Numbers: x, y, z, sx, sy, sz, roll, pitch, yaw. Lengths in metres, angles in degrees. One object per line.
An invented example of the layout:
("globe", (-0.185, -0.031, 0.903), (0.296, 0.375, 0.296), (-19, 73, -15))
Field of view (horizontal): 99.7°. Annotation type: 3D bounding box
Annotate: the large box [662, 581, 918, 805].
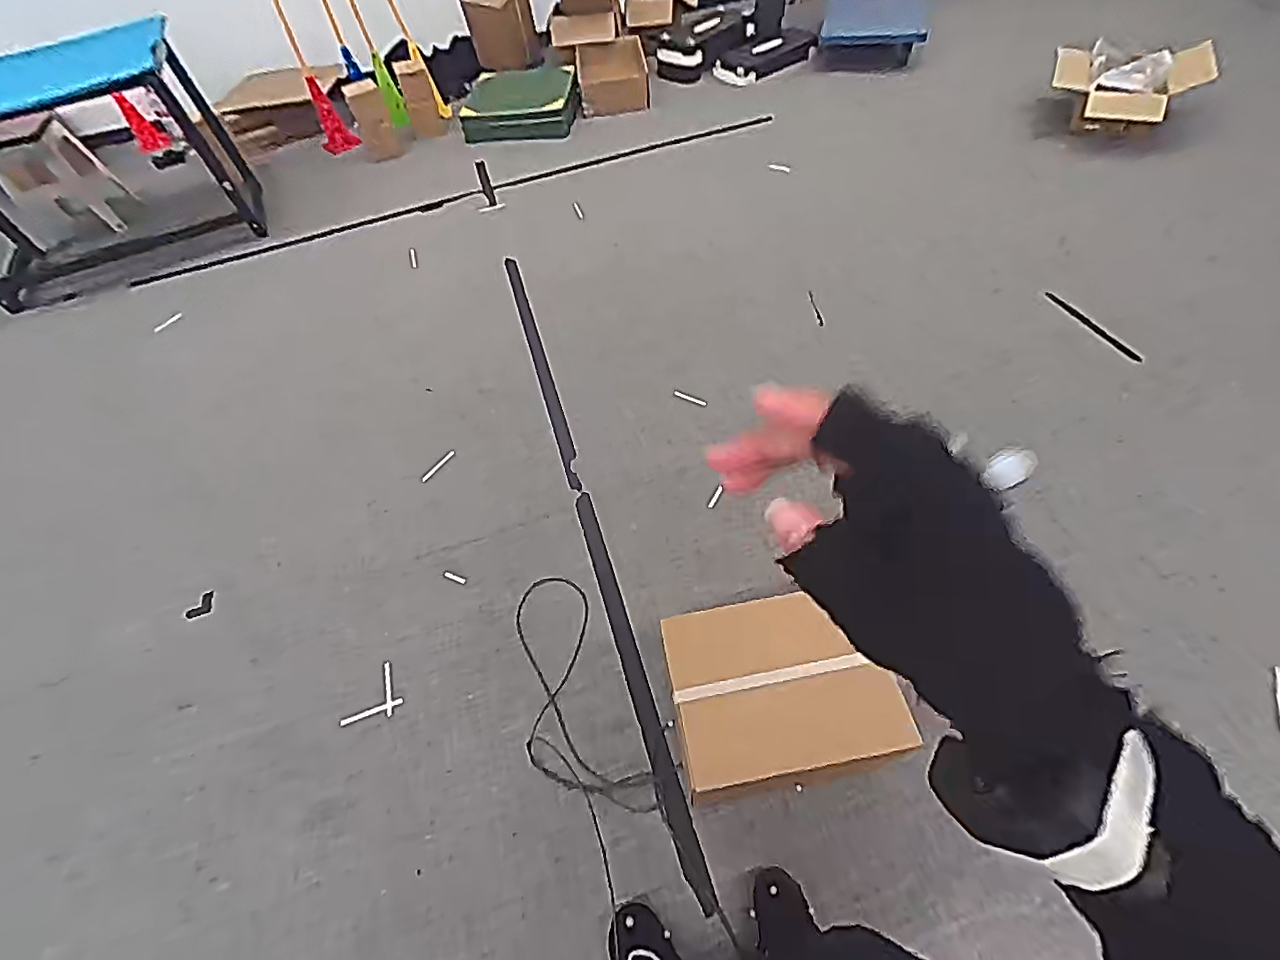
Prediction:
("large box", (0.276, 0.455, 1.136), (0.408, 0.320, 0.320), (-11, 55, -2))
